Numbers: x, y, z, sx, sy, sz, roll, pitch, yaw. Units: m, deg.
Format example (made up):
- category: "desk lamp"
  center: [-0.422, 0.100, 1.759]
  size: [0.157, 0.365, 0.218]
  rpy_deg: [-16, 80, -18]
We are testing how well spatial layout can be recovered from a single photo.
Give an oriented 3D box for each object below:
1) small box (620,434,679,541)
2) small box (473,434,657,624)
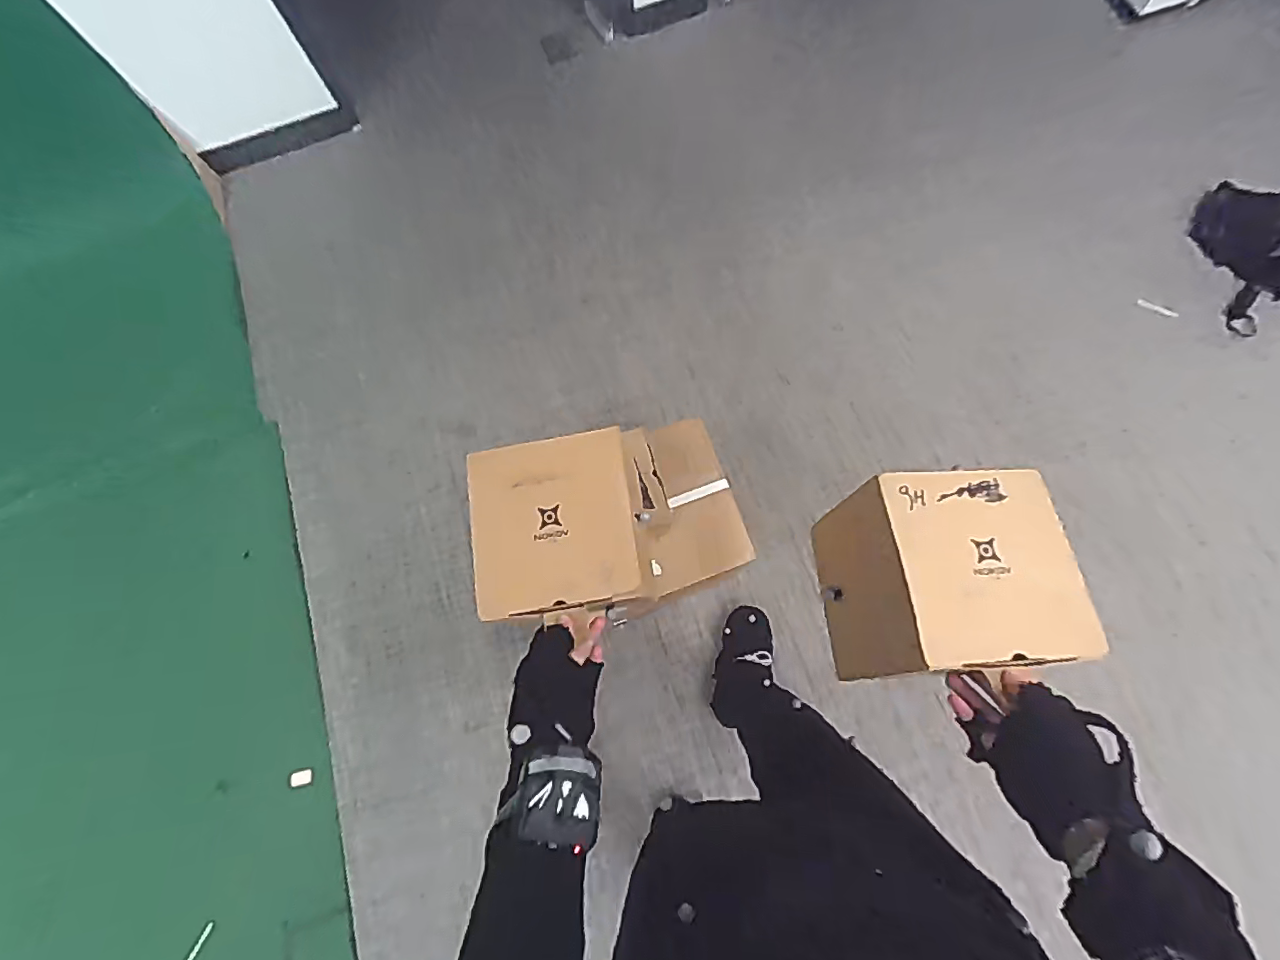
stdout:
- category: "small box"
  center: [-0.043, 0.038, 0.956]
  size: [0.179, 0.176, 0.168]
  rpy_deg: [-21, 80, -2]
- category: "small box"
  center: [-0.078, 0.066, 0.633]
  size: [0.168, 0.176, 0.179]
  rpy_deg: [-11, 74, 4]
